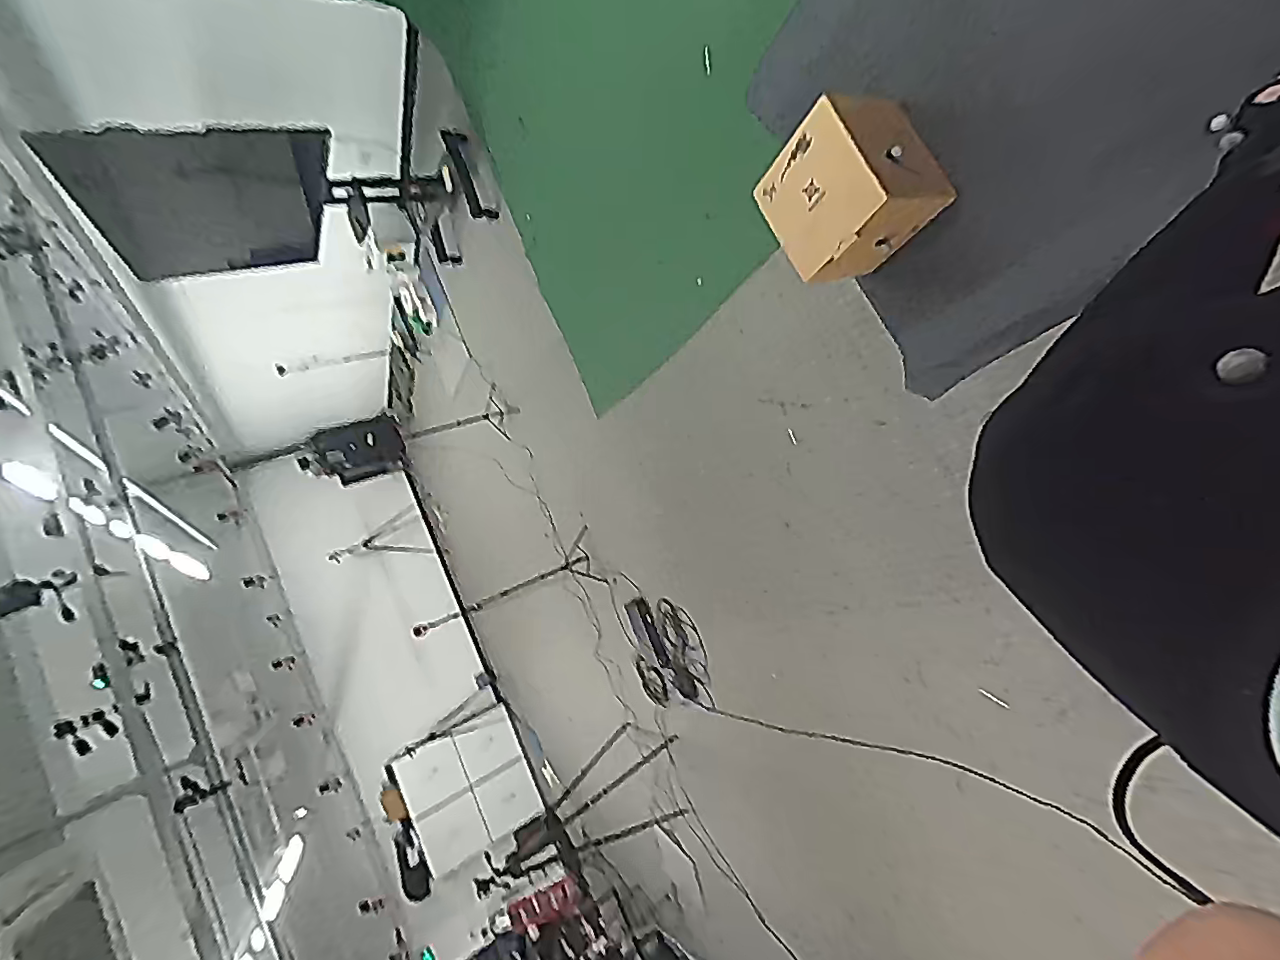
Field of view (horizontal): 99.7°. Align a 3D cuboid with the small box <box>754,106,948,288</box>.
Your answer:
[{"bbox_3d":[0.313,-0.419,0.805,0.179,0.176,0.168,63,148,9],"label":"small box"}]
